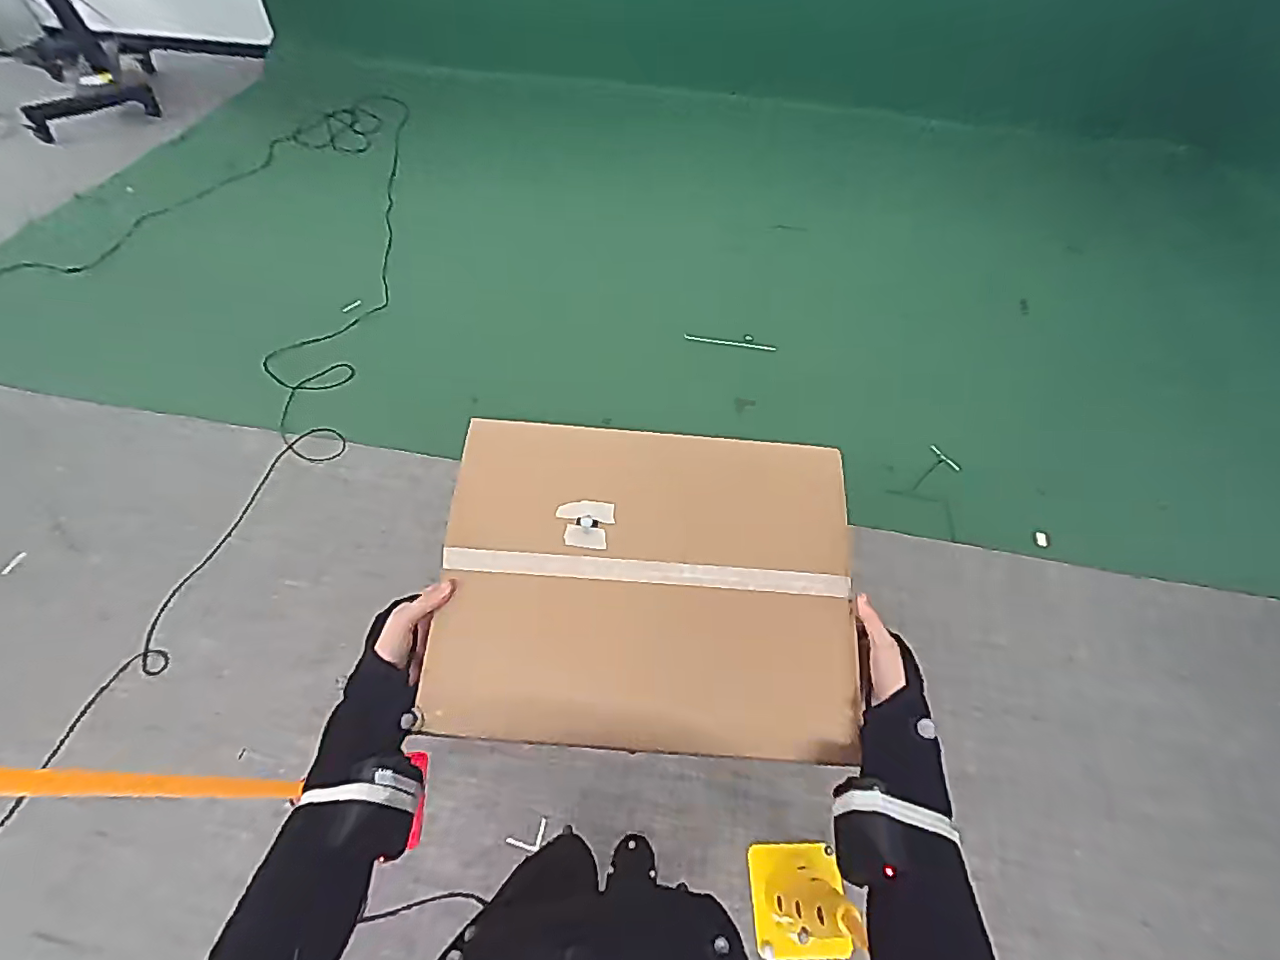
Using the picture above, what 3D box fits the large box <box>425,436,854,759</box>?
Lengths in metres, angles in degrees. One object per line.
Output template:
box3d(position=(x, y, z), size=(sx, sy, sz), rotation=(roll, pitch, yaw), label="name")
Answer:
box3d(position=(0.005, 0.156, 0.687), size=(0.408, 0.320, 0.320), rotation=(4, 67, 0), label="large box")
